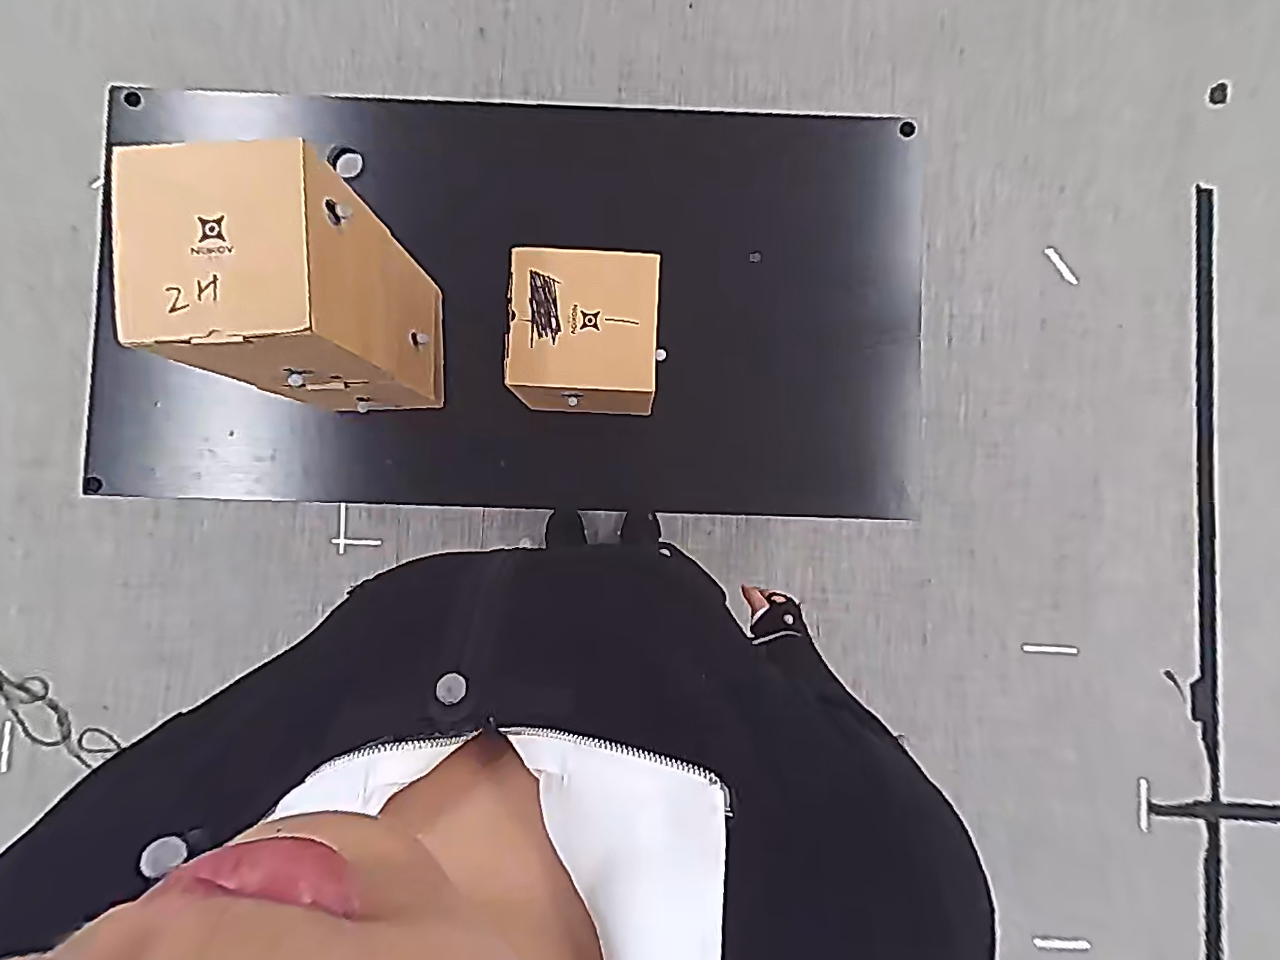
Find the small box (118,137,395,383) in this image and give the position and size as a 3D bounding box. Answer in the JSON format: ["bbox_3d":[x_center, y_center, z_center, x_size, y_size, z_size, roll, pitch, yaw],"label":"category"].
[{"bbox_3d":[-0.367,-0.206,0.547,0.168,0.176,0.179,-4,87,0],"label":"small box"}]

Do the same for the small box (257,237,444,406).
[{"bbox_3d":[-0.369,-0.194,0.713,0.168,0.176,0.179,-2,88,0],"label":"small box"}]

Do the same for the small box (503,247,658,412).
[{"bbox_3d":[-0.069,-0.186,0.715,0.179,0.176,0.168,3,87,-1],"label":"small box"}]
